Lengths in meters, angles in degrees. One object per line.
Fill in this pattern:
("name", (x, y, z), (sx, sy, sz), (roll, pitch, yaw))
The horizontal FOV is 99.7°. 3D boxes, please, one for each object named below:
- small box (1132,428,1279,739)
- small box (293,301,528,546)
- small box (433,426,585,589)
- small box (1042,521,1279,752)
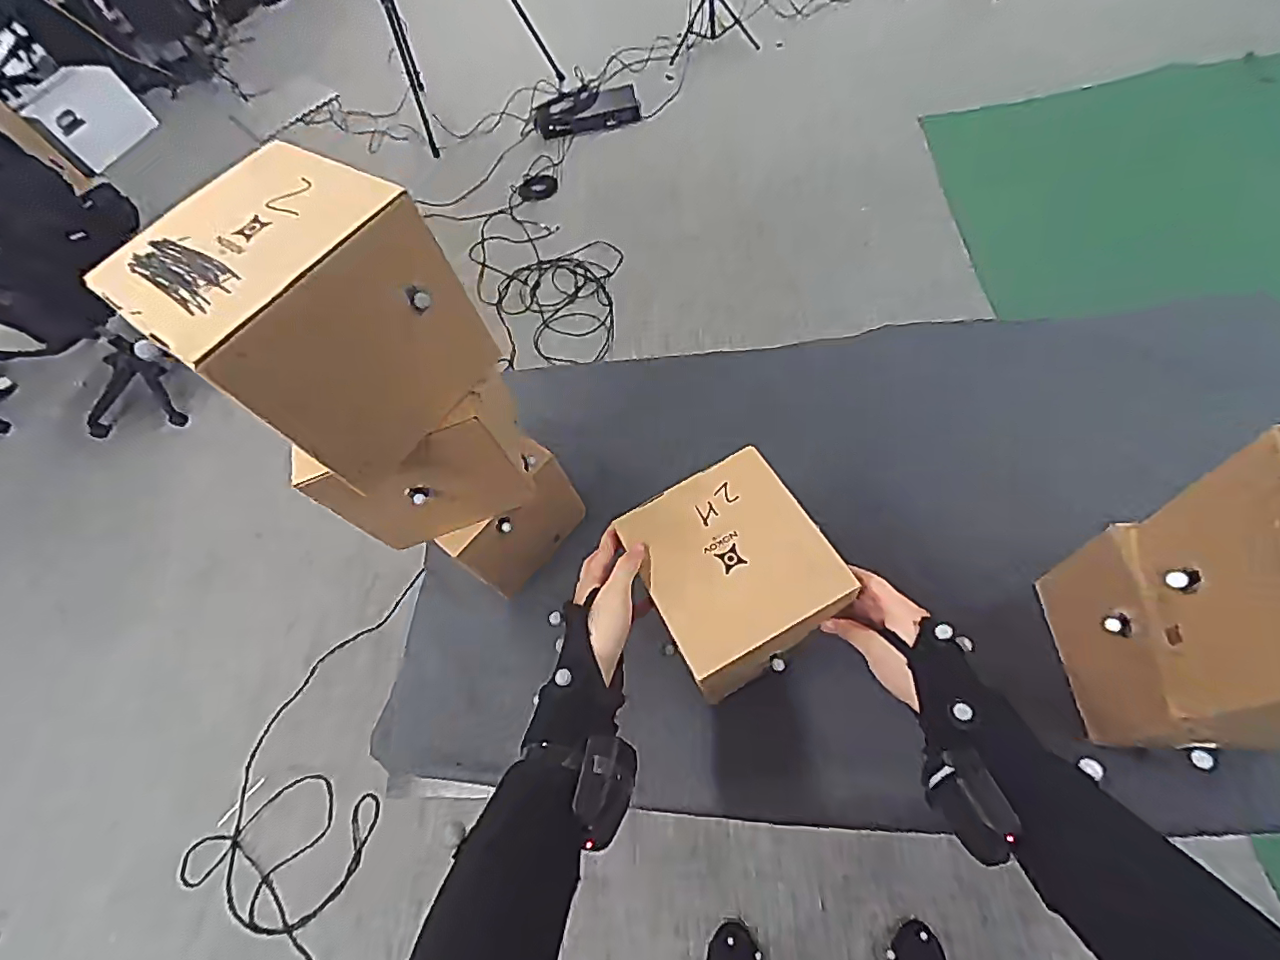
("small box", (0.486, 0.081, 0.355), (0.179, 0.176, 0.168), (5, 62, 16))
("small box", (-0.235, -0.052, 0.584), (0.179, 0.176, 0.168), (-21, 60, 1))
("small box", (-0.204, 0.022, 0.729), (0.179, 0.176, 0.168), (34, 74, 26))
("small box", (0.518, 0.148, 0.500), (0.168, 0.176, 0.179), (-5, 60, 11))
